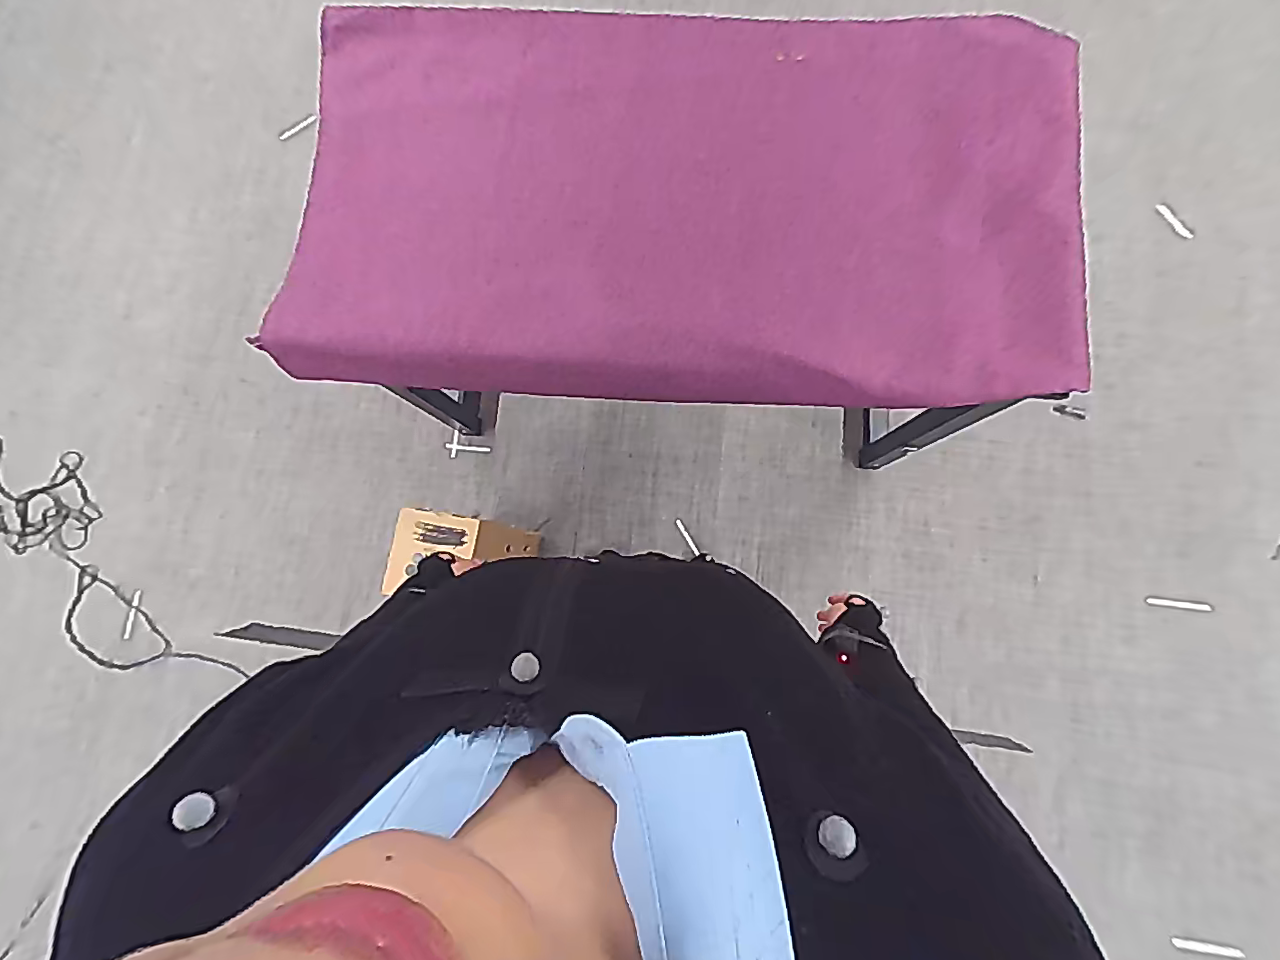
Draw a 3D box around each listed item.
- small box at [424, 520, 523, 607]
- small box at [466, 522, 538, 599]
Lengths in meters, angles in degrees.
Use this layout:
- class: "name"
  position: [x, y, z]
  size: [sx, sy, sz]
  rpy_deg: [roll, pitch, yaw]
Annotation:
- class: "small box"
  position: [-0.386, 0.198, 1.285]
  size: [0.168, 0.176, 0.179]
  rpy_deg: [7, 82, 5]
- class: "small box"
  position: [-0.384, 0.219, 1.449]
  size: [0.168, 0.176, 0.179]
  rpy_deg: [12, 82, 5]
